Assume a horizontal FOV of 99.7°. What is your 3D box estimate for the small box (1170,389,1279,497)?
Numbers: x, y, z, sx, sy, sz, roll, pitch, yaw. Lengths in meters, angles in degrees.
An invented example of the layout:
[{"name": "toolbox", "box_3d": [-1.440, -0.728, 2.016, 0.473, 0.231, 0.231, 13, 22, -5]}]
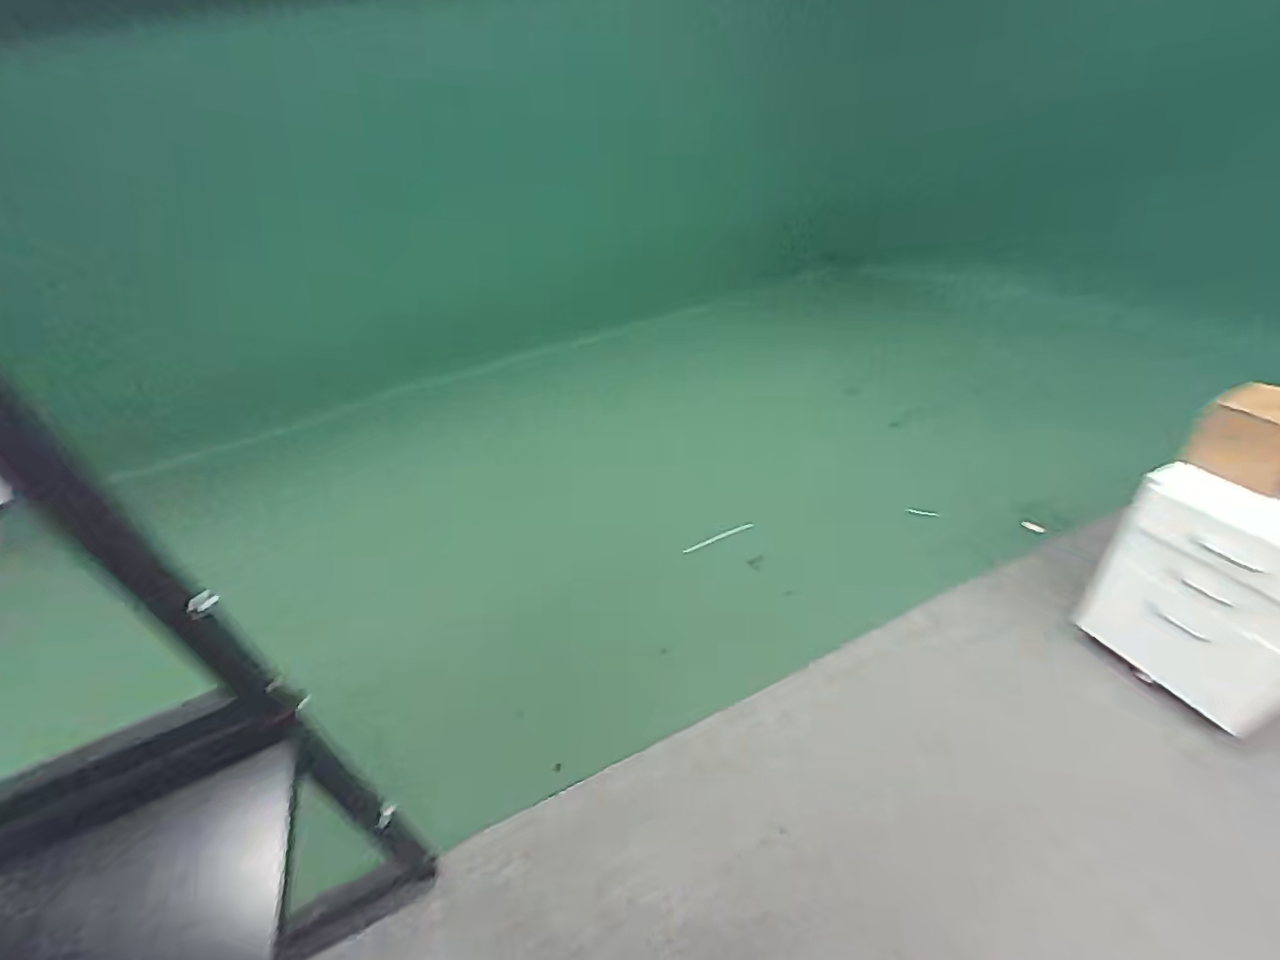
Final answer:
[{"name": "small box", "box_3d": [1.419, -0.088, 1.267, 0.168, 0.176, 0.179, -20, 38, -14]}]
